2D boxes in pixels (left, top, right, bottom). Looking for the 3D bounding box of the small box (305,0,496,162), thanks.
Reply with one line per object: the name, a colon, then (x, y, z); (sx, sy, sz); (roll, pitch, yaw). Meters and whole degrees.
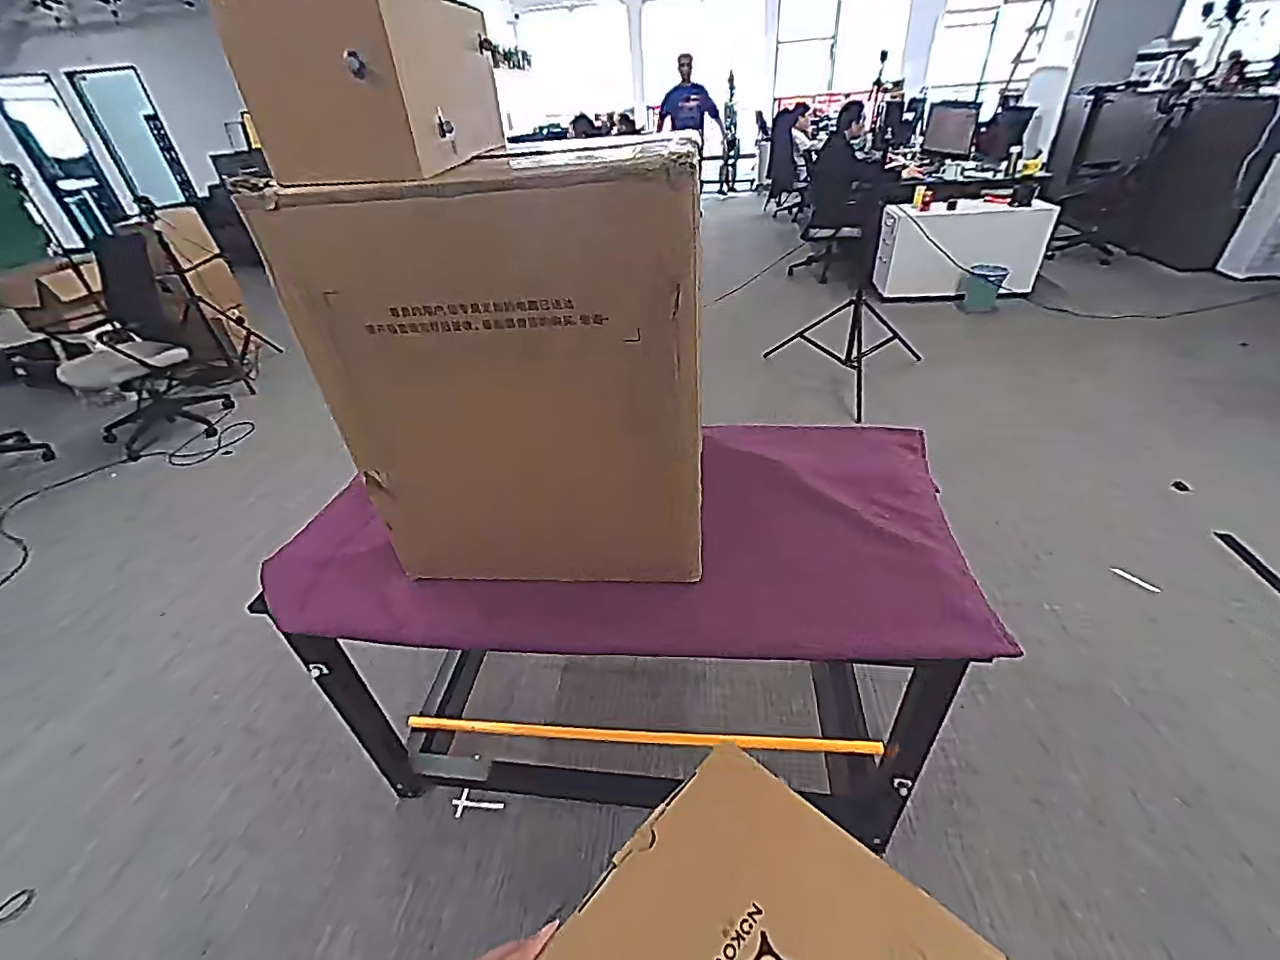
small box: (-0.313, -0.548, 0.756); (0.168, 0.176, 0.179); (0, 36, 6)
